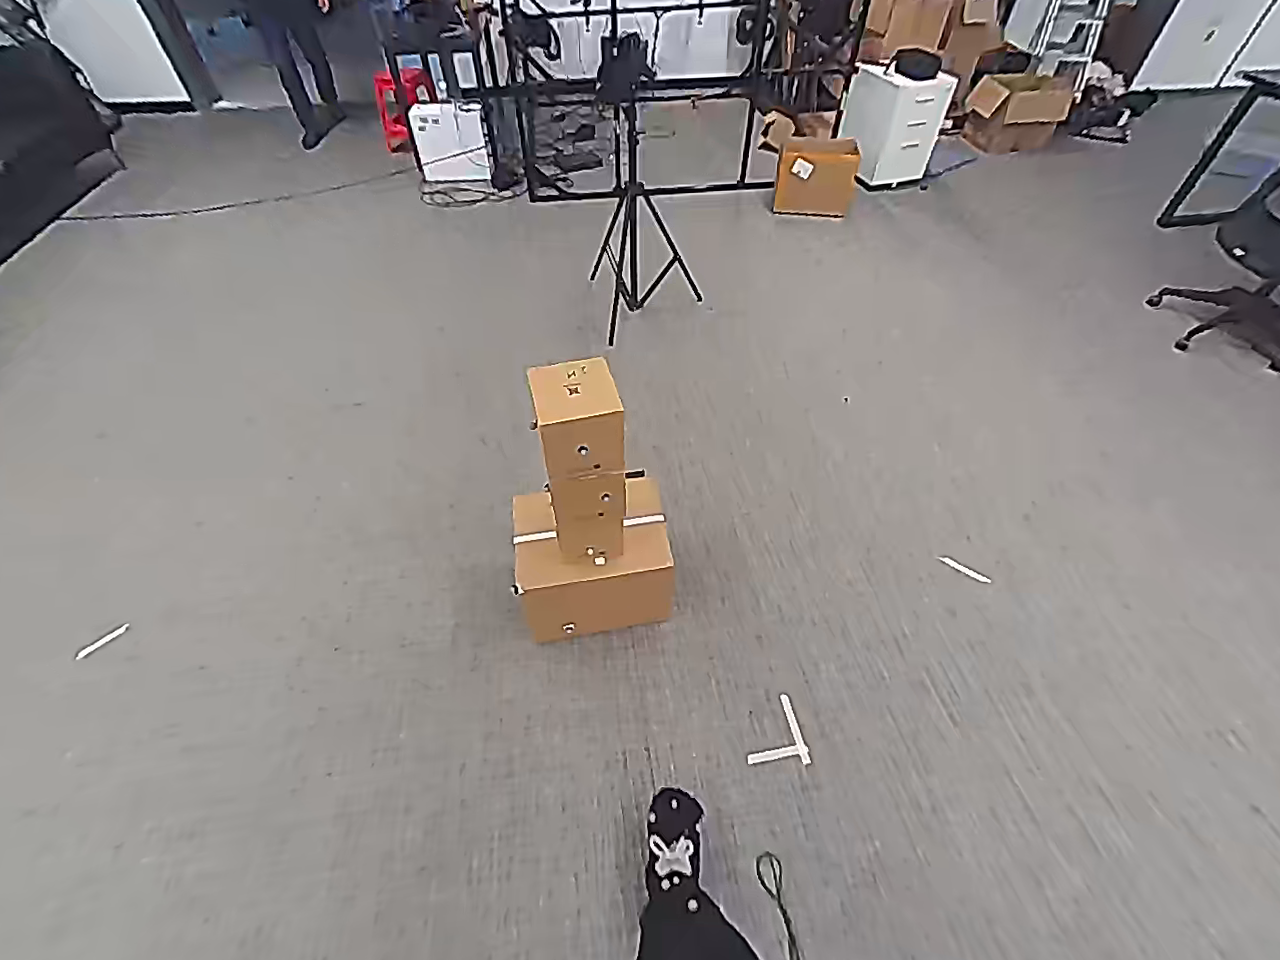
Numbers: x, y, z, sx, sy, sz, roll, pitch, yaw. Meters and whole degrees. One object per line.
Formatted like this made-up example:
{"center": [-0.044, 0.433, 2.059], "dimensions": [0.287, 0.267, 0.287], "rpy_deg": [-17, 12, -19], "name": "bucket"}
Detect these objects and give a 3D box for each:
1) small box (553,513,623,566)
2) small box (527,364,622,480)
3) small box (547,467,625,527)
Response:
{"center": [-0.136, 0.097, 1.388], "dimensions": [0.168, 0.176, 0.179], "rpy_deg": [-8, 50, -7], "name": "small box"}
{"center": [-0.134, -0.115, 1.139], "dimensions": [0.168, 0.176, 0.179], "rpy_deg": [-11, 51, -12], "name": "small box"}
{"center": [-0.130, -0.006, 1.262], "dimensions": [0.168, 0.176, 0.179], "rpy_deg": [-8, 49, -9], "name": "small box"}
